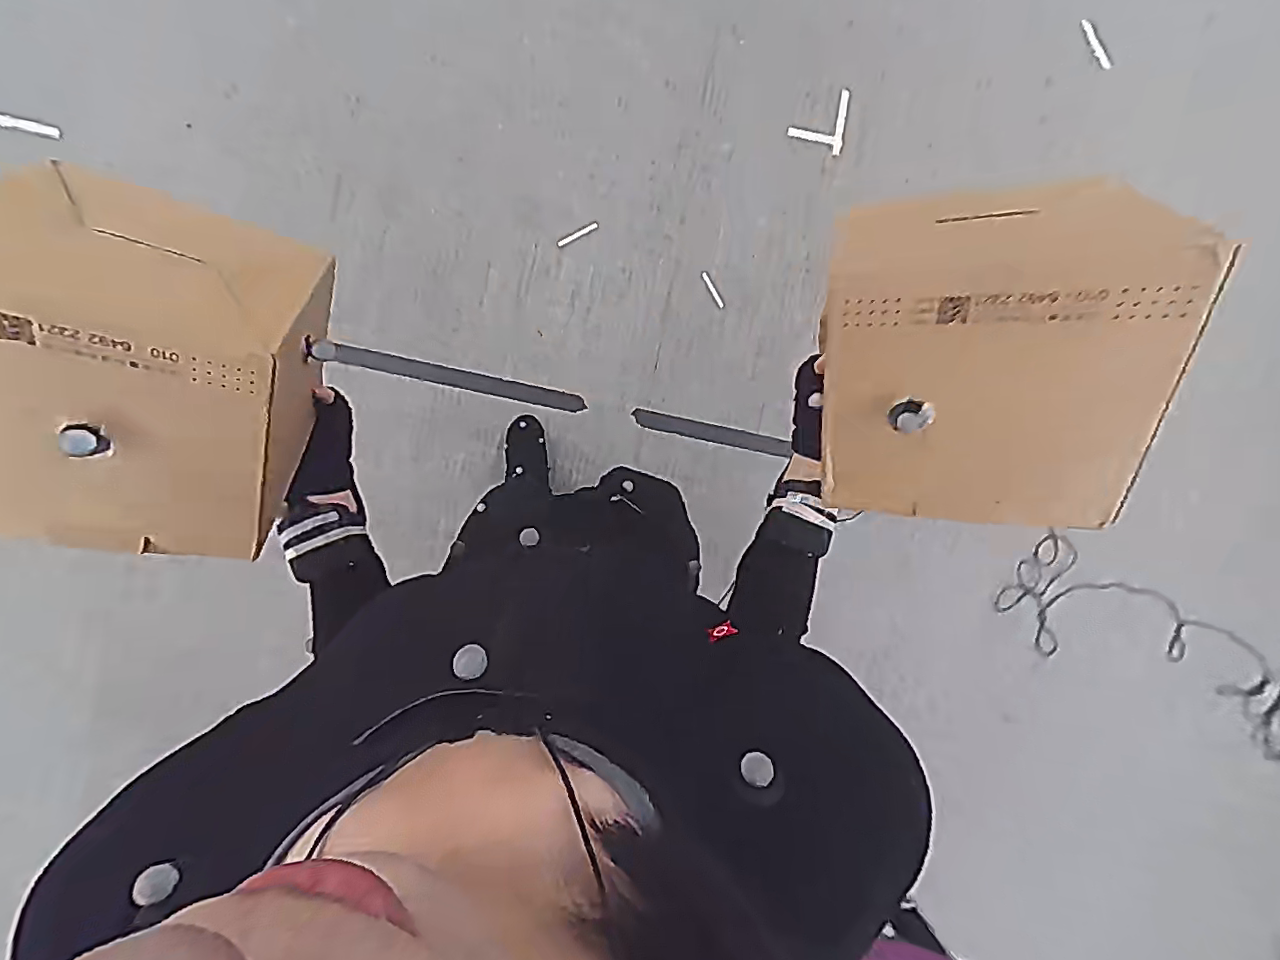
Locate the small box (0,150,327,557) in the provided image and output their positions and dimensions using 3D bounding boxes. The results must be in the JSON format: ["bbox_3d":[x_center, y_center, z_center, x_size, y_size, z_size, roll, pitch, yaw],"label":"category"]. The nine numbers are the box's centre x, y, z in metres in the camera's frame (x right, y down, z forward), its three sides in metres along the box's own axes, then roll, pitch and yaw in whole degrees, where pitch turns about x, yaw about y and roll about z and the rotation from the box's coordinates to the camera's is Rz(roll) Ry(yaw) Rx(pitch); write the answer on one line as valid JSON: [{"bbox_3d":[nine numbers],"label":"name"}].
[{"bbox_3d":[-0.316,-0.079,0.343,0.168,0.179,0.176,14,123,-26],"label":"small box"}]
